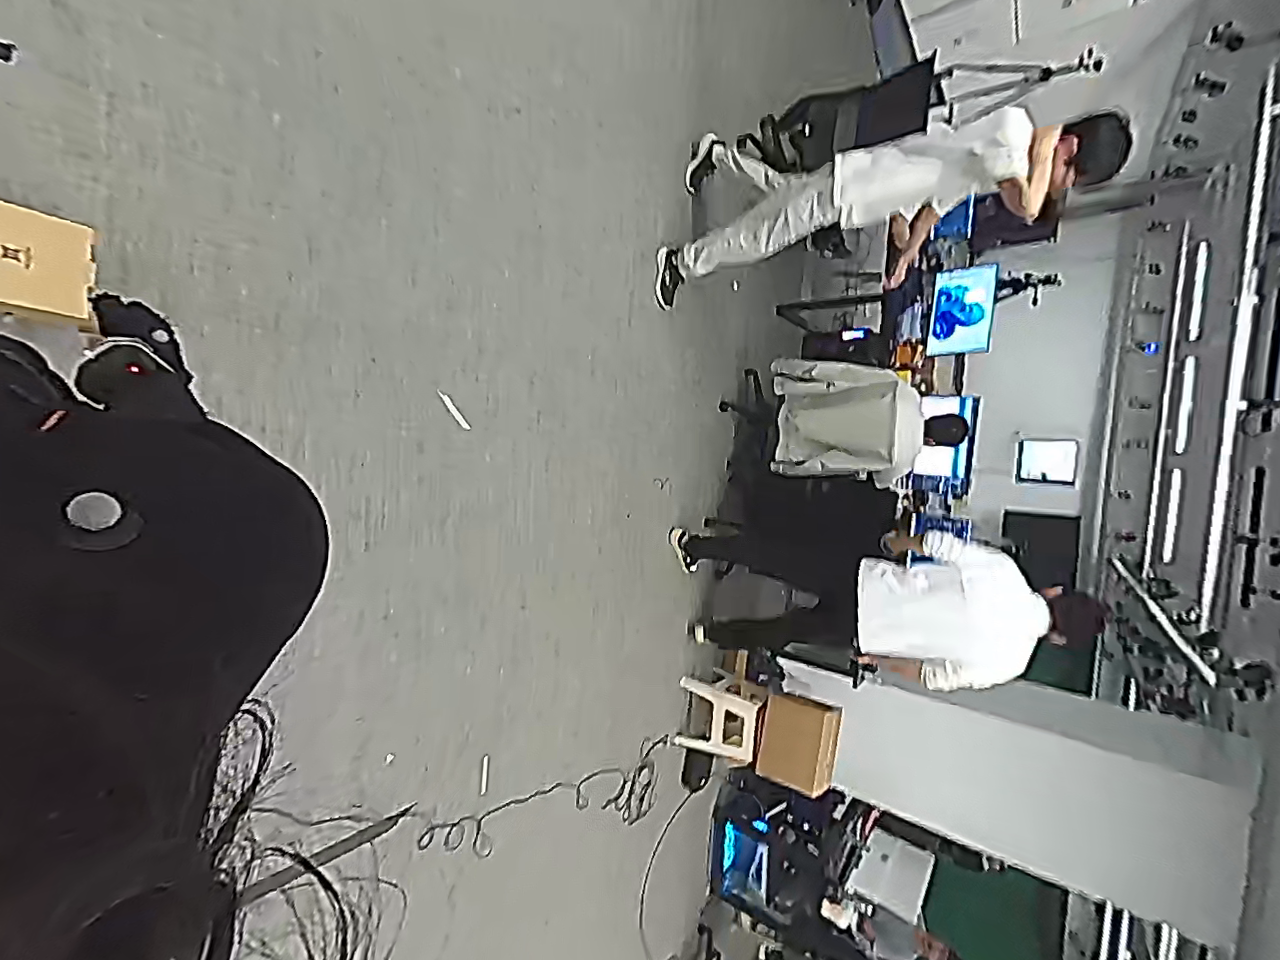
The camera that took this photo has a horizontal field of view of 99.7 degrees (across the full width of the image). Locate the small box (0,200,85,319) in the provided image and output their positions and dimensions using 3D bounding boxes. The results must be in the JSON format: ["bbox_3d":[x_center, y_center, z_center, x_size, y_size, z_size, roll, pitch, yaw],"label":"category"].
[{"bbox_3d":[-1.109,-0.383,0.933,0.179,0.176,0.168,6,91,-55],"label":"small box"}]
